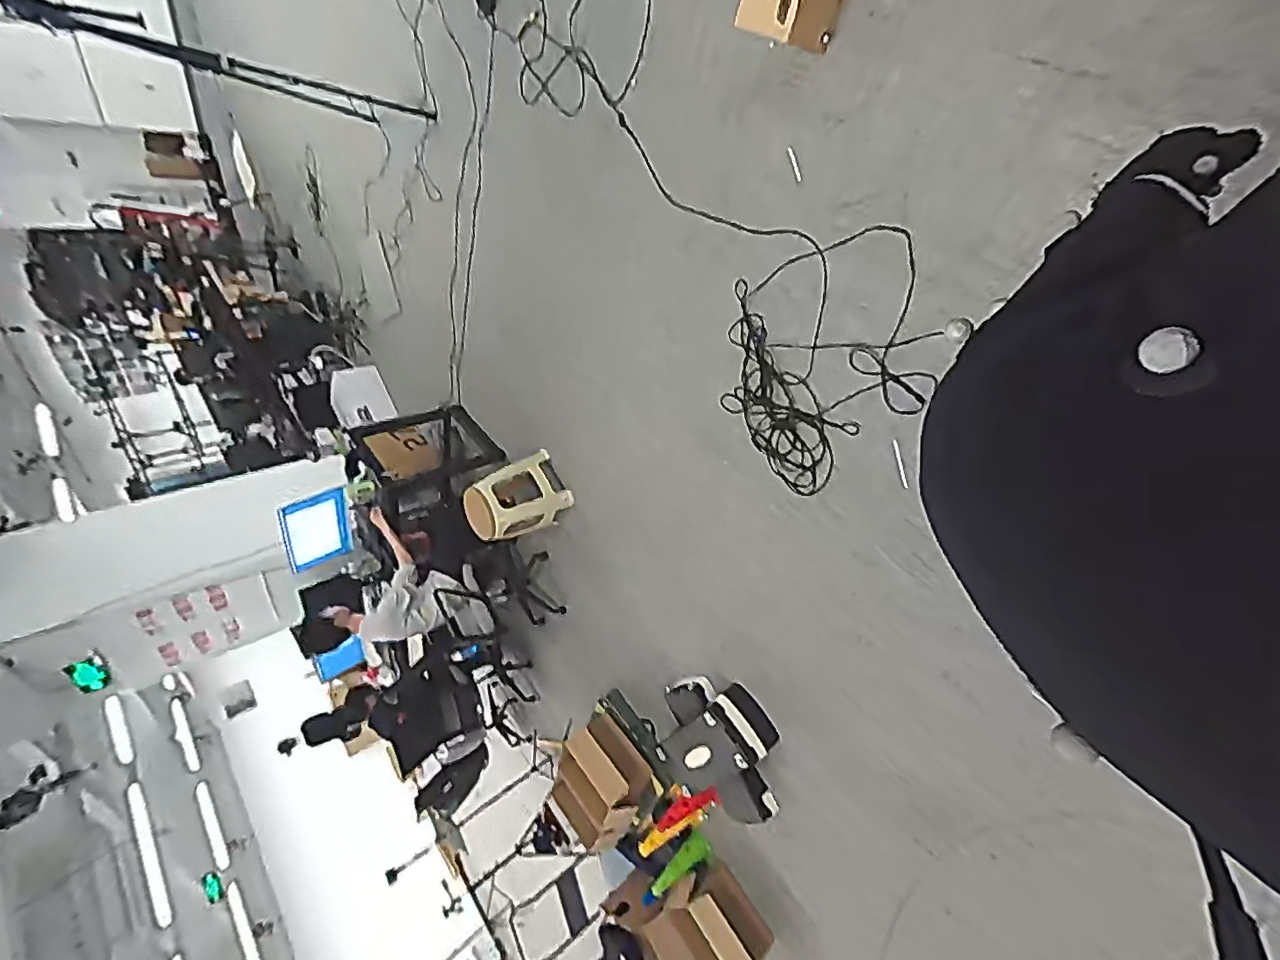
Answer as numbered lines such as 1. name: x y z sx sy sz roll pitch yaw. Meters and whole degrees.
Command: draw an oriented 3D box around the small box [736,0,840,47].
1. small box: 0.369 -1.167 1.293 0.179 0.176 0.168 45 137 27
